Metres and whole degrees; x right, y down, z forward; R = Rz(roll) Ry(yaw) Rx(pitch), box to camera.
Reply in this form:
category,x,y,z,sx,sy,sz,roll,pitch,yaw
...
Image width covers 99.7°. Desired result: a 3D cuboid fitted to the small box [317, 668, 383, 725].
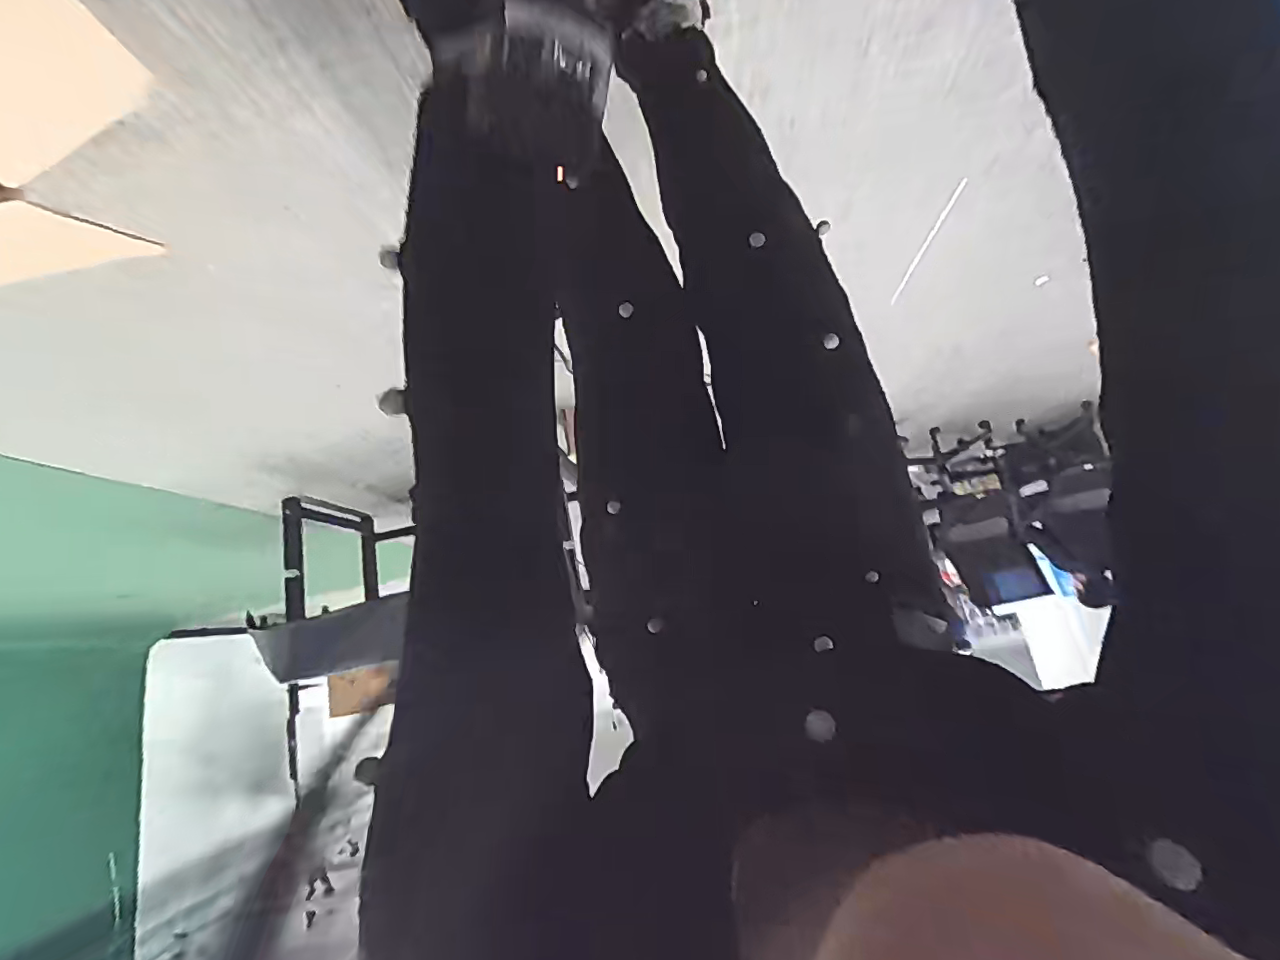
category,x,y,z,sx,sy,sz,roll,pitch,yaw
small box,-1.129,0.835,2.105,0.168,0.176,0.179,-12,166,0
